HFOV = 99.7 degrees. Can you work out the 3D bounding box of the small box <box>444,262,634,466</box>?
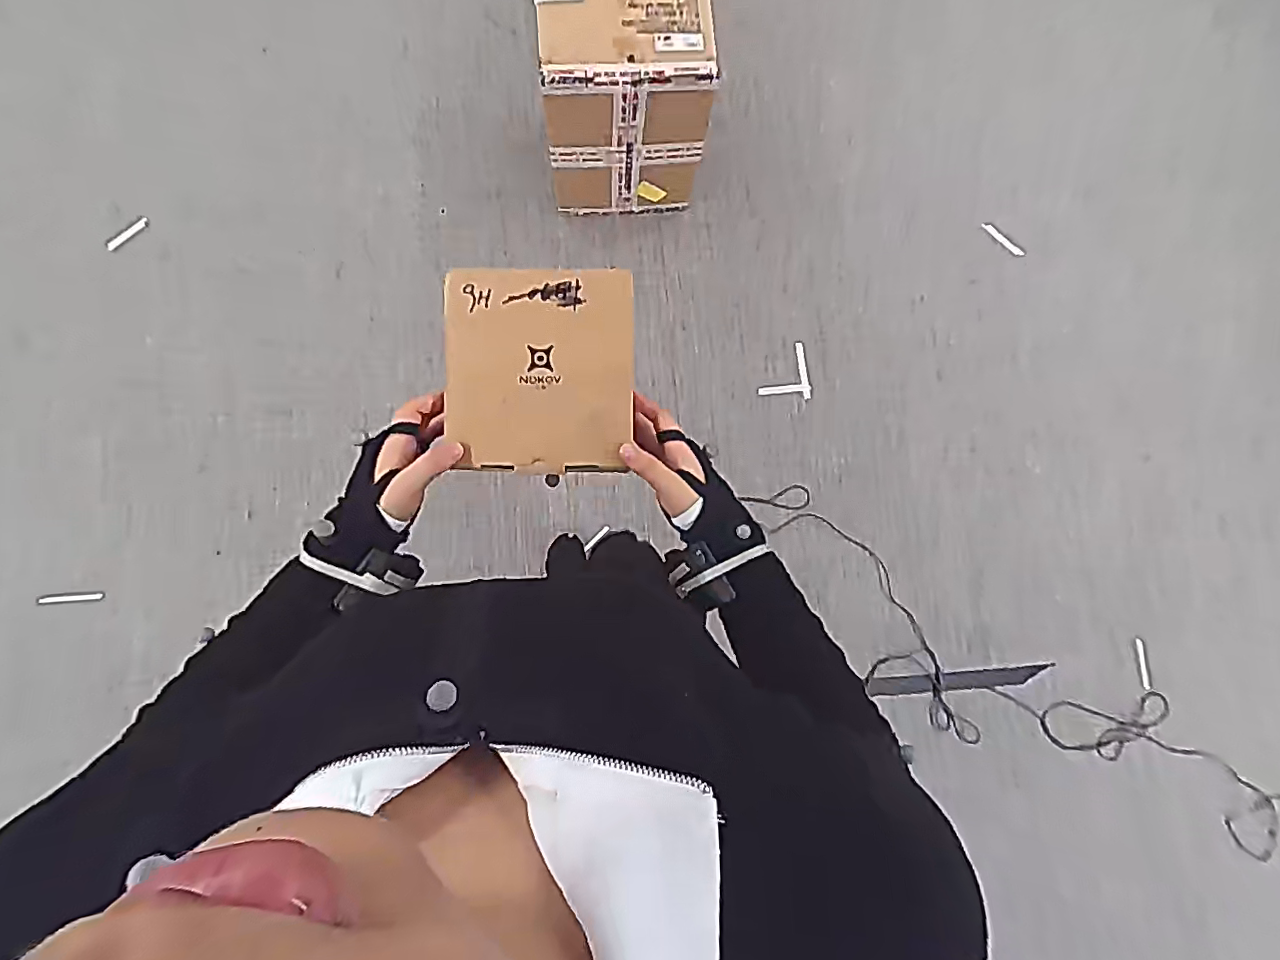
[{"bbox_3d":[-0.089,-0.103,0.550,0.168,0.176,0.179,0,91,-2],"label":"small box"}]
